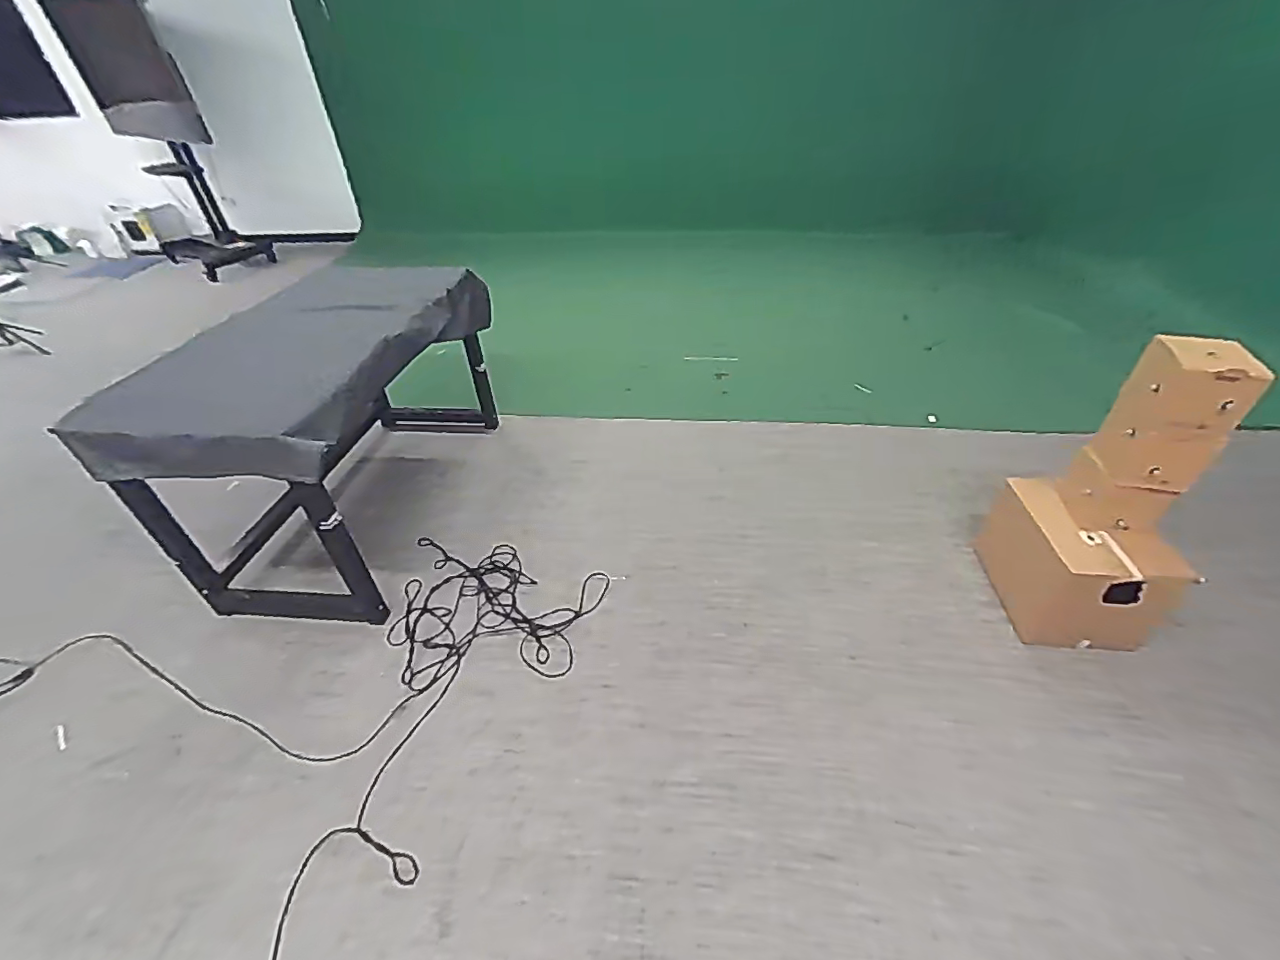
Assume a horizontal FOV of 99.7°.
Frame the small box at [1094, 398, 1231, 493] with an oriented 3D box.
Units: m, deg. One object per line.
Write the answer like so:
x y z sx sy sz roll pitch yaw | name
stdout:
1.317 -0.093 1.382 0.168 0.176 0.179 9 41 13 | small box

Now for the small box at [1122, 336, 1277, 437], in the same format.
1.306 -0.220 1.281 0.168 0.176 0.179 10 41 13 | small box

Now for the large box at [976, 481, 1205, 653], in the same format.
1.283 0.248 1.608 0.320 0.320 0.408 1 40 6 | large box
